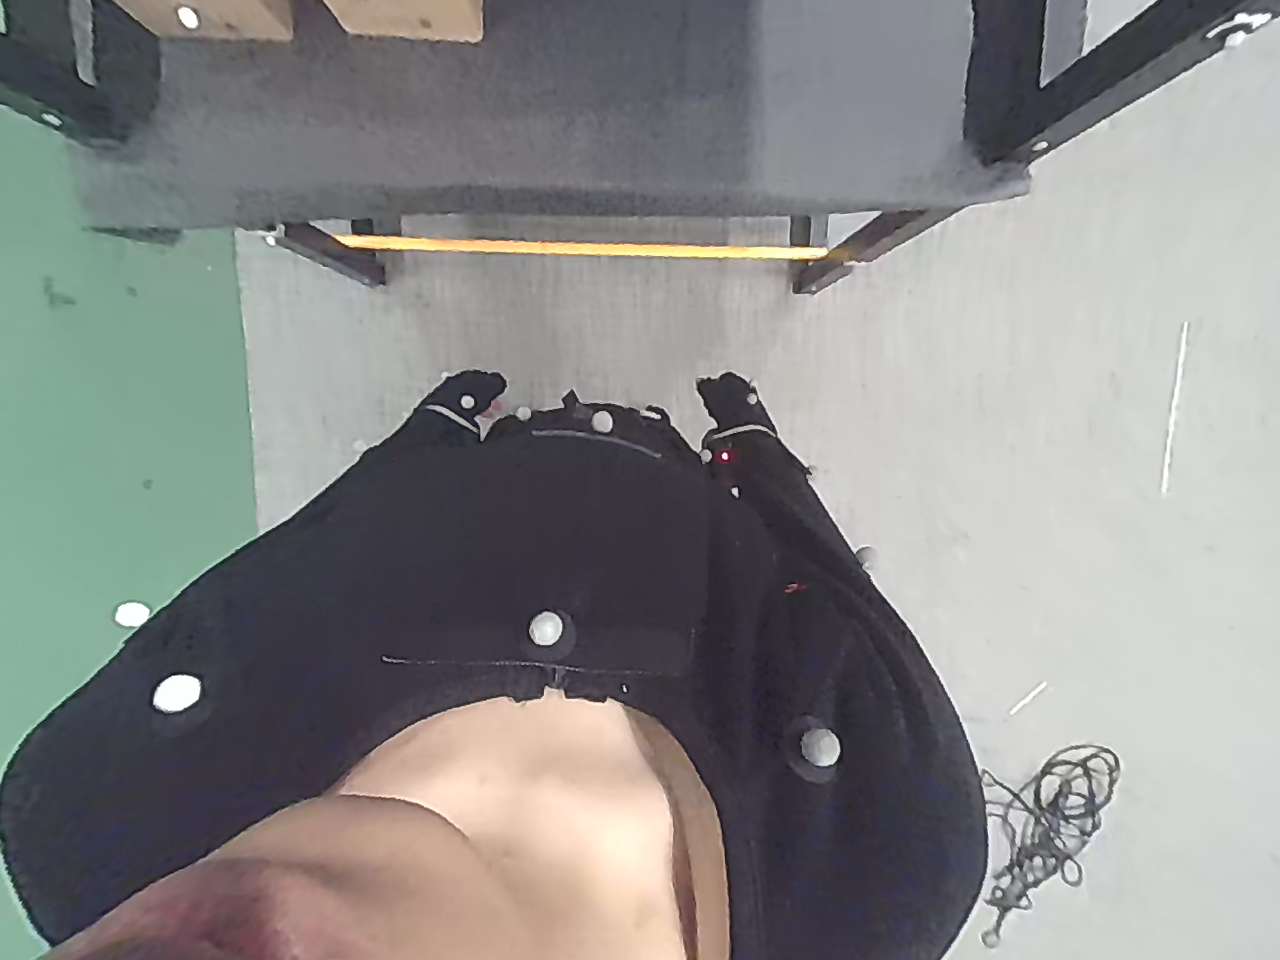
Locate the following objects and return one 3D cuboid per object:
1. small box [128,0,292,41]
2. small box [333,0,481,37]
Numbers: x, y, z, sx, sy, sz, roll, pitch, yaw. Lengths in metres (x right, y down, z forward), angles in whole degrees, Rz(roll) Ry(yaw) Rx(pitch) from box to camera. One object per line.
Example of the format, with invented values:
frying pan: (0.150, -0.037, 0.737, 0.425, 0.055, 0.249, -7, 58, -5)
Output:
small box: (-0.499, -0.614, 0.566, 0.168, 0.176, 0.179, 0, 98, -3)
small box: (-0.271, -0.621, 0.577, 0.168, 0.176, 0.179, 1, 97, -3)
